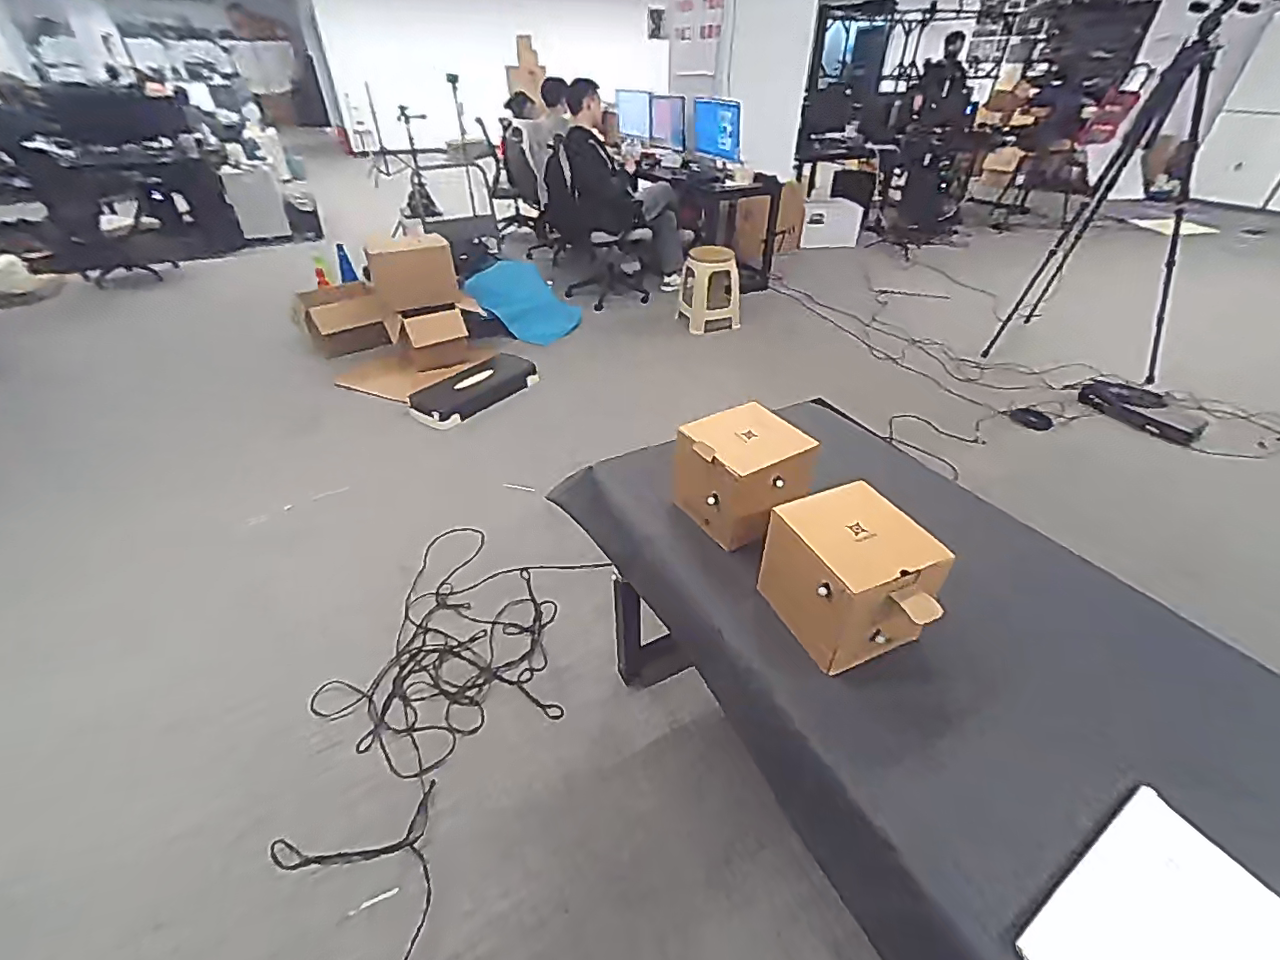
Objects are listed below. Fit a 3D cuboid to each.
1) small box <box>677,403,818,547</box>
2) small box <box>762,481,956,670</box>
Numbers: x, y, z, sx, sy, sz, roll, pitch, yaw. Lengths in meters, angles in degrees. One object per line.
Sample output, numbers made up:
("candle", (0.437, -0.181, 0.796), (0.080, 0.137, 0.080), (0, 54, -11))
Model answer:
("small box", (0.180, -0.009, 0.954), (0.179, 0.176, 0.168), (-20, 43, -26))
("small box", (0.293, 0.132, 0.768), (0.168, 0.176, 0.179), (-15, 40, -19))
